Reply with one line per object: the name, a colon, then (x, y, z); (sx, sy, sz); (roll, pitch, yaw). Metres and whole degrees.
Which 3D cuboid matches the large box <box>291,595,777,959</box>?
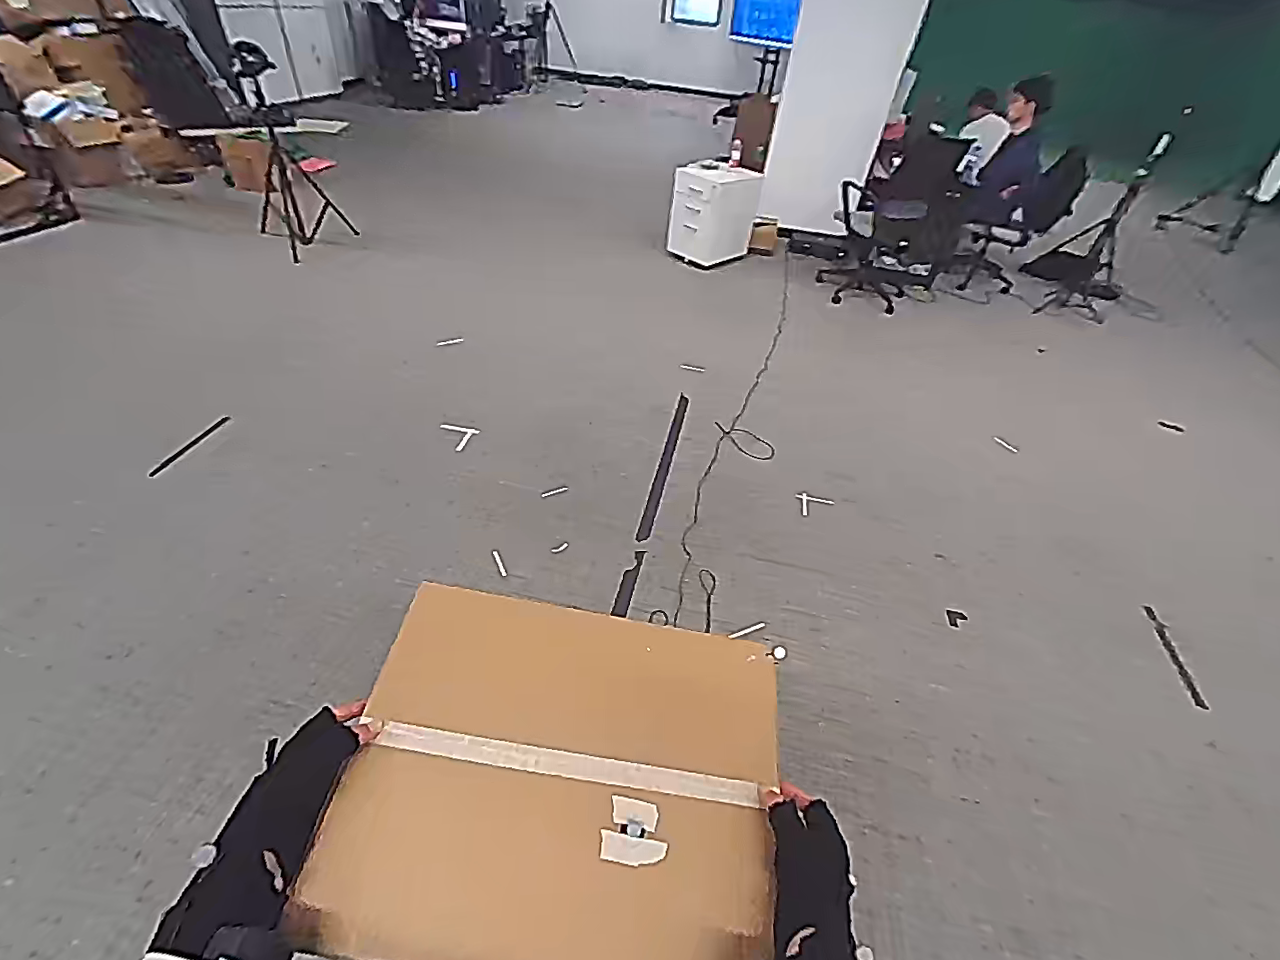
large box: (-0.087, 0.374, 0.639); (0.408, 0.320, 0.320); (11, 51, -1)
